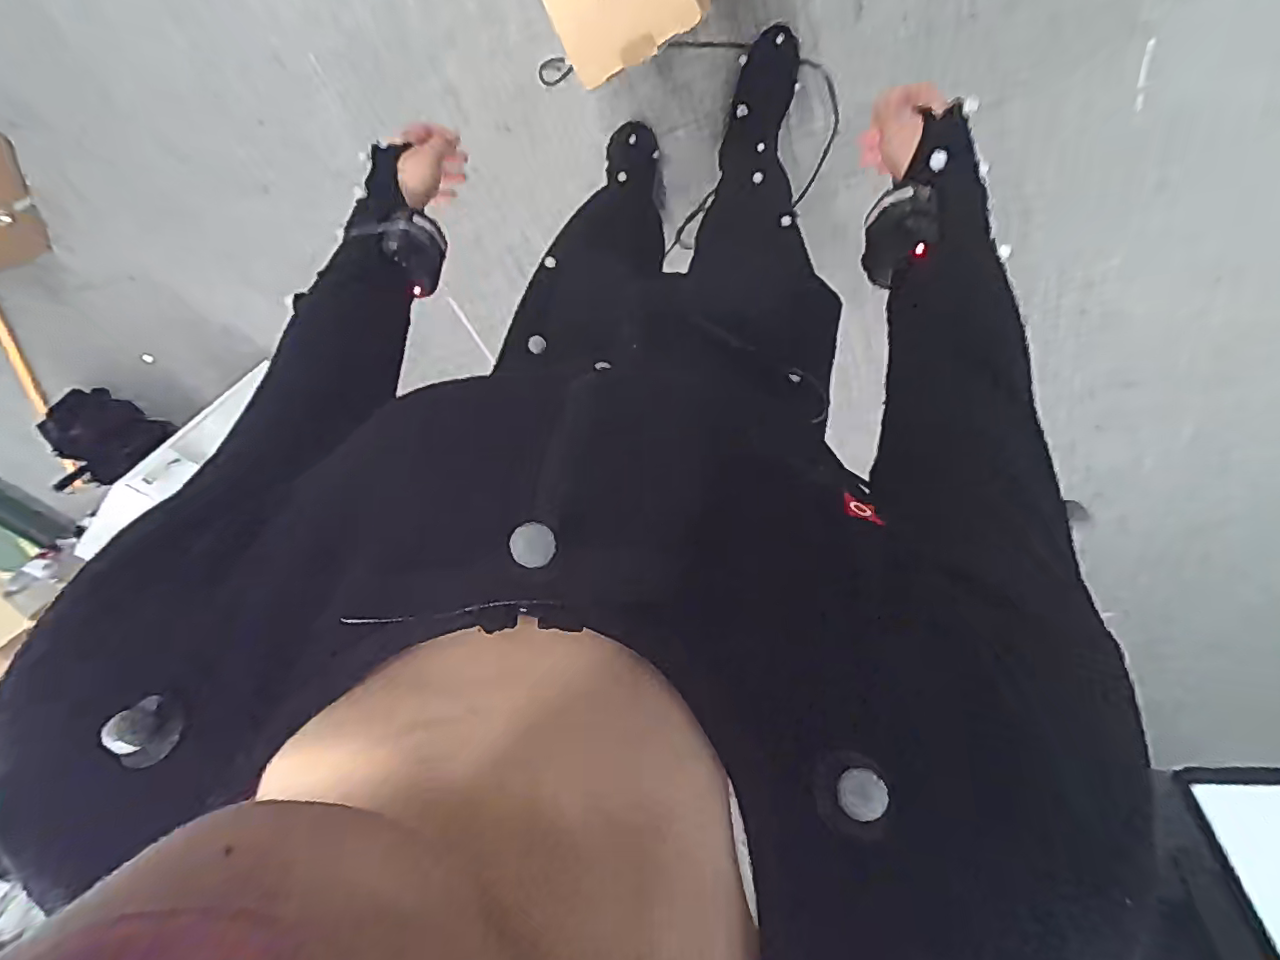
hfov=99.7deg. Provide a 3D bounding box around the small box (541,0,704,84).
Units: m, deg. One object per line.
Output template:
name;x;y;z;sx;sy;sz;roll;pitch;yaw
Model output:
small box;-0.031;-0.634;0.663;0.168;0.176;0.179;-15;130;25
